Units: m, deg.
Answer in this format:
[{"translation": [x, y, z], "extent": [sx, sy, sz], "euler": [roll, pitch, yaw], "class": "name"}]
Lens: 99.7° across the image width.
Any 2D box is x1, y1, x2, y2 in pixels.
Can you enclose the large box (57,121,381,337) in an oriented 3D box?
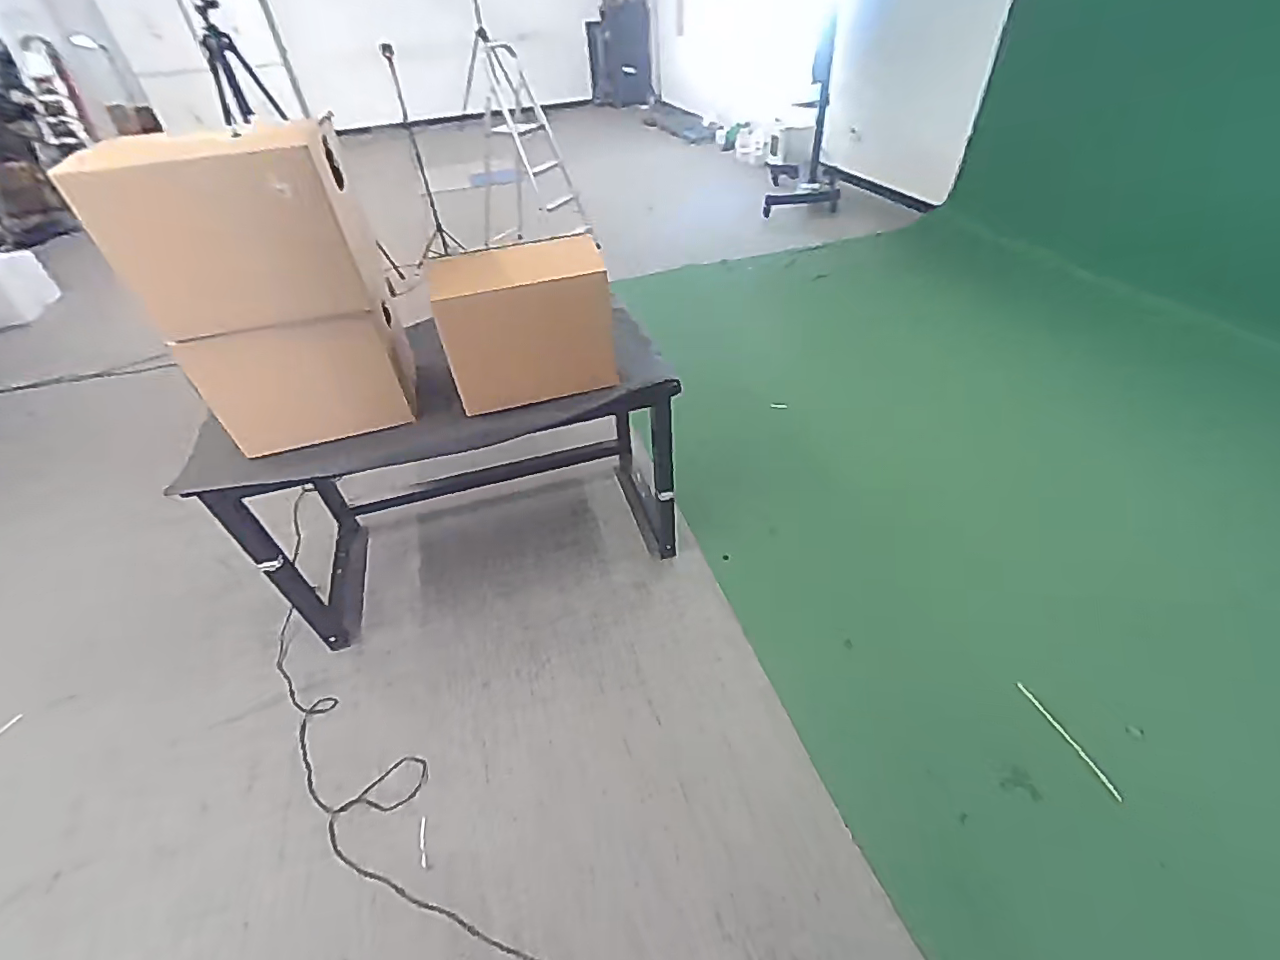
[{"translation": [-0.806, -0.529, 1.125], "extent": [0.408, 0.320, 0.320], "euler": [-13, 44, -12], "class": "large box"}]
